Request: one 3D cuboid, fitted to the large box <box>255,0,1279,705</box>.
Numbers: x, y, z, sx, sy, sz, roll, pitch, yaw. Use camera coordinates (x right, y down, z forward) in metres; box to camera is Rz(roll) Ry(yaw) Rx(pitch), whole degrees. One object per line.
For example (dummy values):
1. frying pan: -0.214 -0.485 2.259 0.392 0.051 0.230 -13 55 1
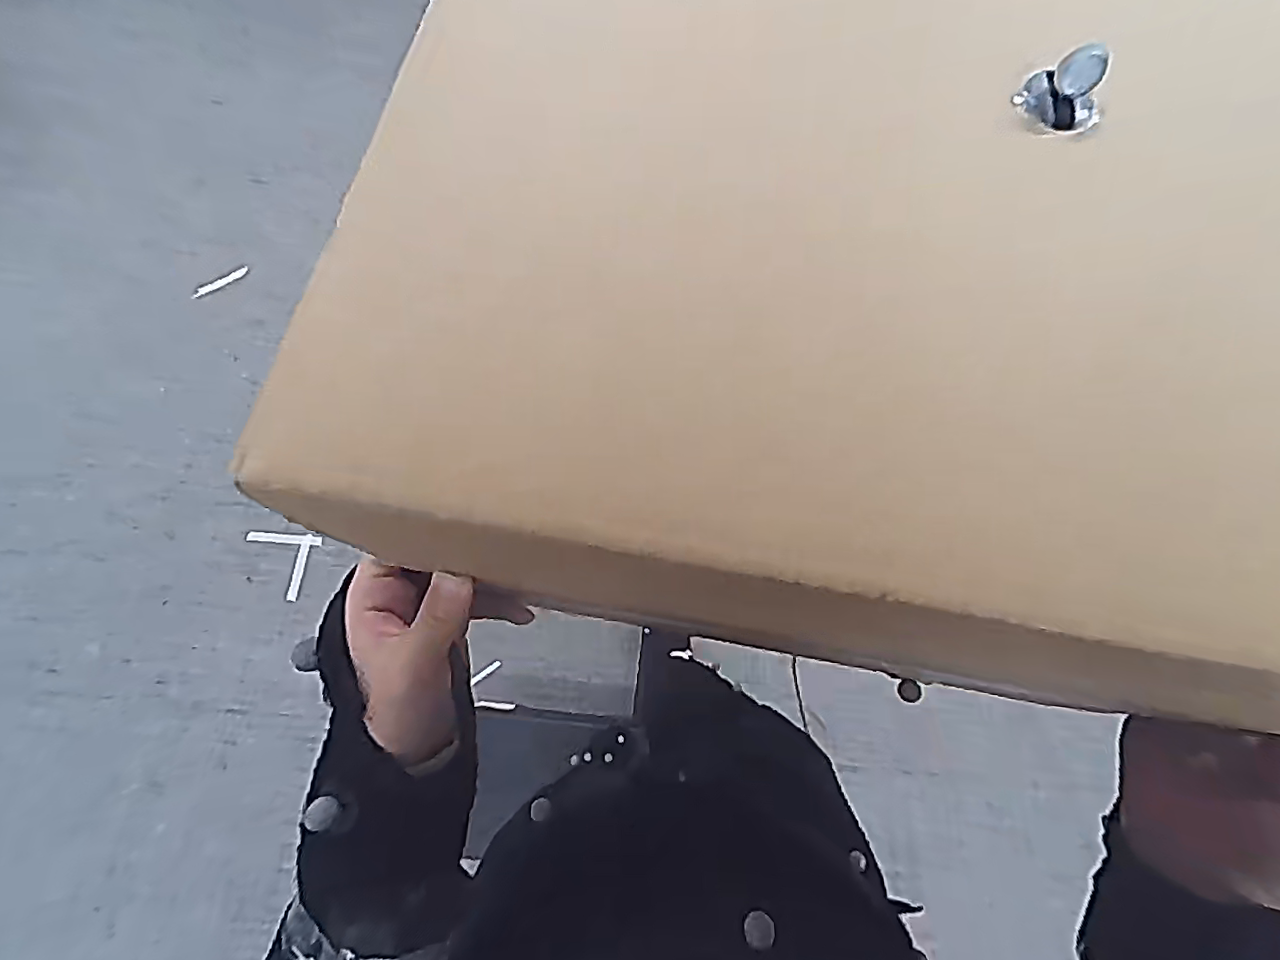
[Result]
1. large box: 0.115 -0.074 0.314 0.408 0.320 0.320 9 74 1
